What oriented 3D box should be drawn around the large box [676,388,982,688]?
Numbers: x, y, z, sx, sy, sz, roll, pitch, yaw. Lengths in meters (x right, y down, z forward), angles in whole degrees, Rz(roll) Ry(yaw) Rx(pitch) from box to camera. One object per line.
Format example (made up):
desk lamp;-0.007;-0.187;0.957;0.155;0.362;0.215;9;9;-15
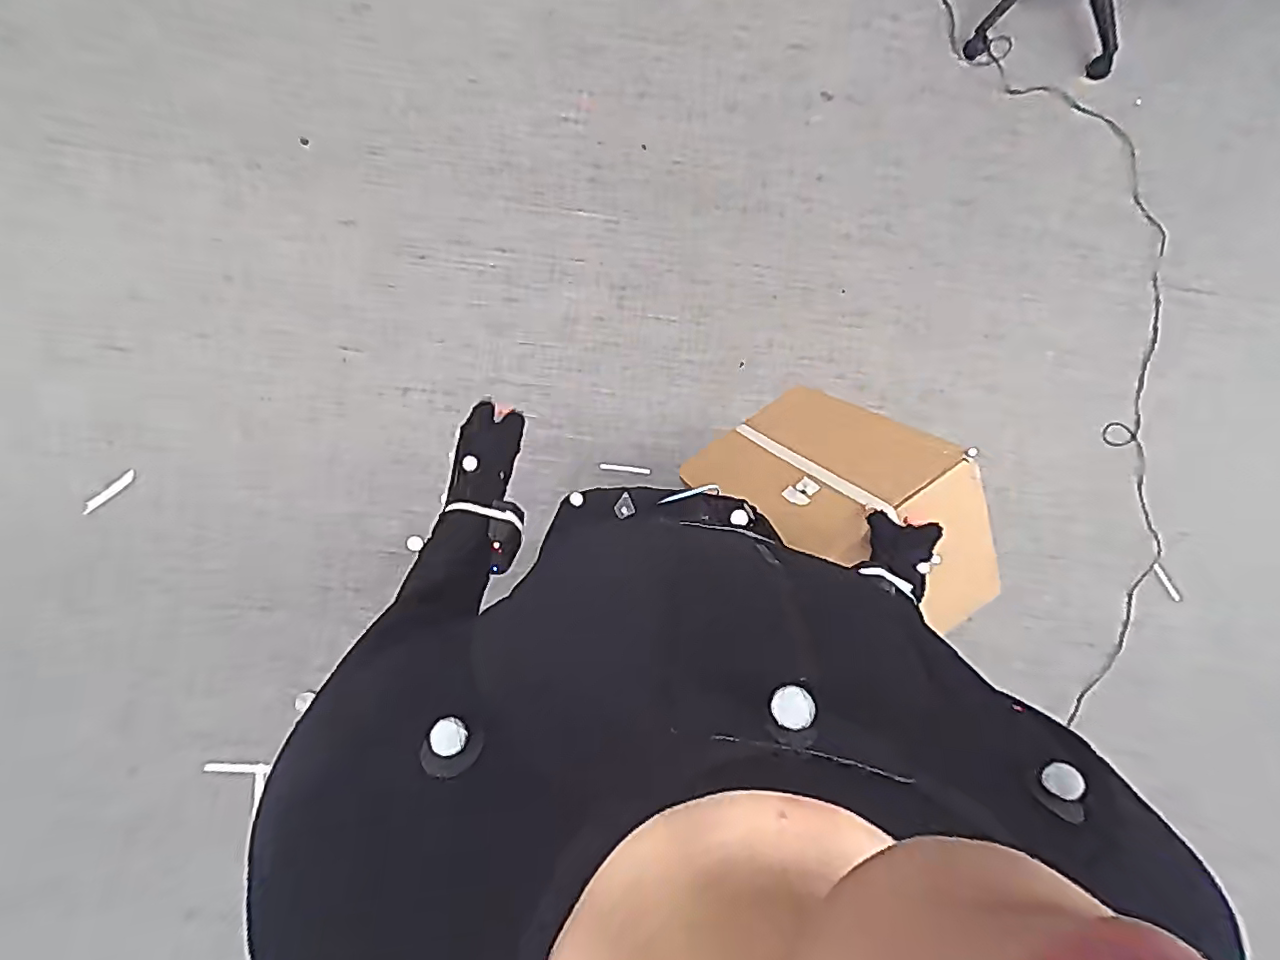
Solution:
large box;0.329;0.083;0.996;0.320;0.408;0.320;-35;122;-4
